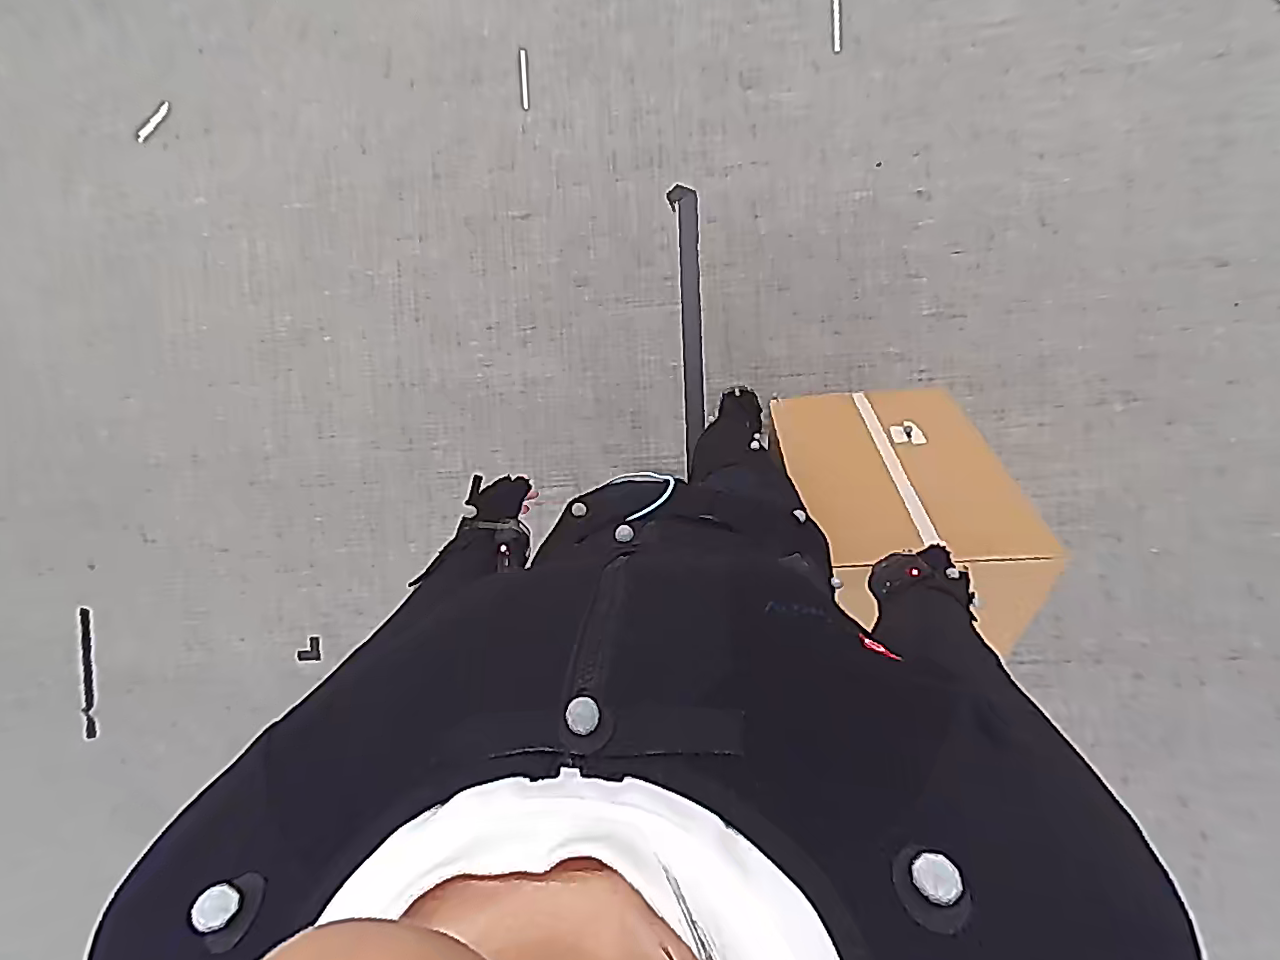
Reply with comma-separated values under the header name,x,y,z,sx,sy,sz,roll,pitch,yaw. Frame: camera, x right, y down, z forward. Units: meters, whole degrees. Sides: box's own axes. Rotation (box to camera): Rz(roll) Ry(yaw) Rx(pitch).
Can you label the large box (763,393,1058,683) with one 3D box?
name,x,y,z,sx,sy,sz,roll,pitch,yaw
large box,0.404,0.091,0.945,0.320,0.408,0.320,-3,129,4
